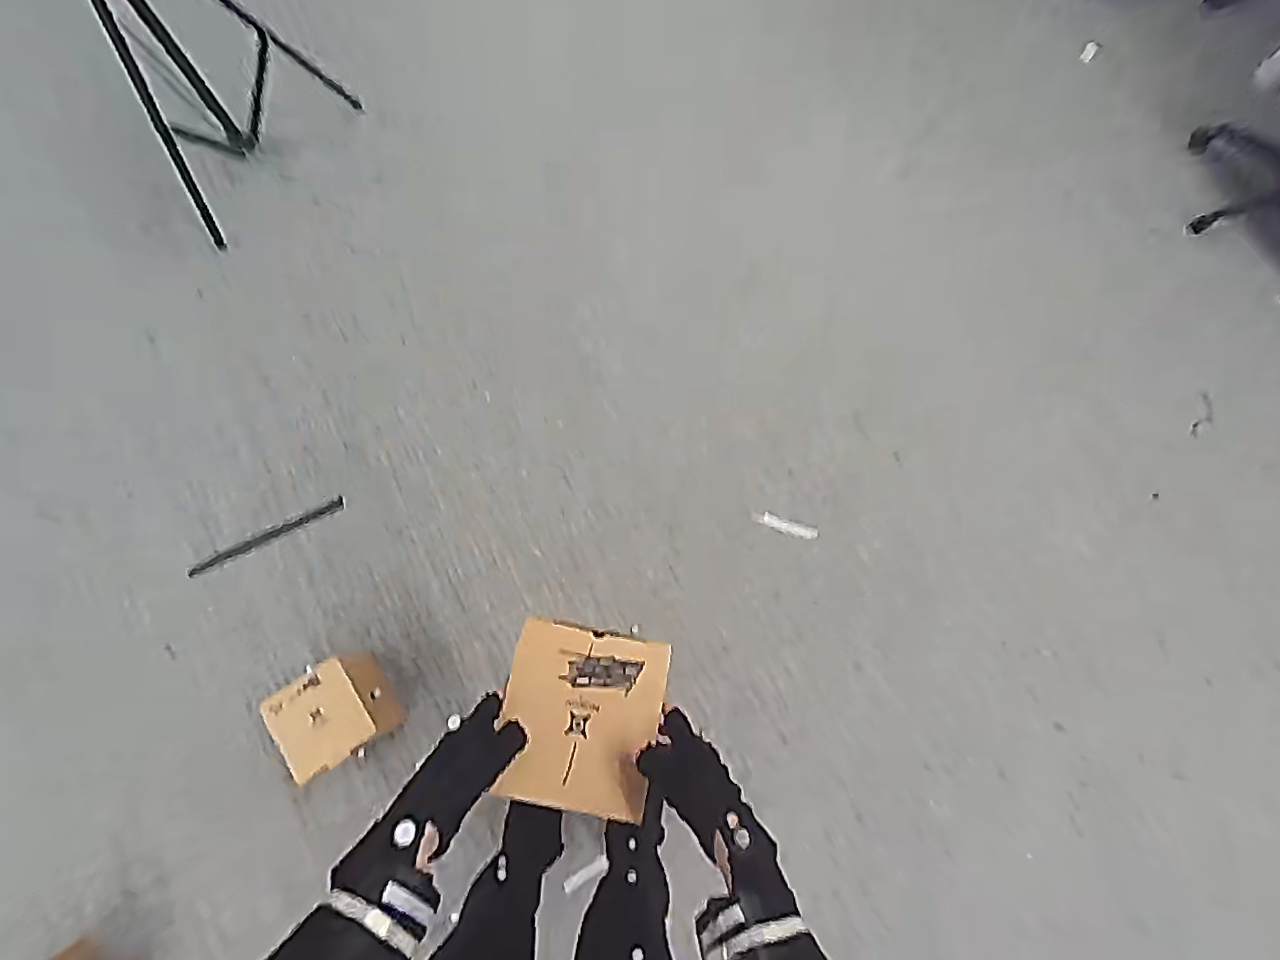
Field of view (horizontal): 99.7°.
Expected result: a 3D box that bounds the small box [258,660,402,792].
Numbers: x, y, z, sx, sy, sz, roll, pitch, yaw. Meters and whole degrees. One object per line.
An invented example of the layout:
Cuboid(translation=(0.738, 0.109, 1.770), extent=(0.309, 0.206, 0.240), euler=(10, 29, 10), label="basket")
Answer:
Cuboid(translation=(-0.622, 0.490, 1.110), extent=(0.168, 0.176, 0.179), euler=(-33, 80, -13), label="small box")

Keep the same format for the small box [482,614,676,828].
Cuboid(translation=(-0.066, 0.261, 0.621), extent=(0.168, 0.176, 0.179), euler=(13, 73, -2), label="small box")
